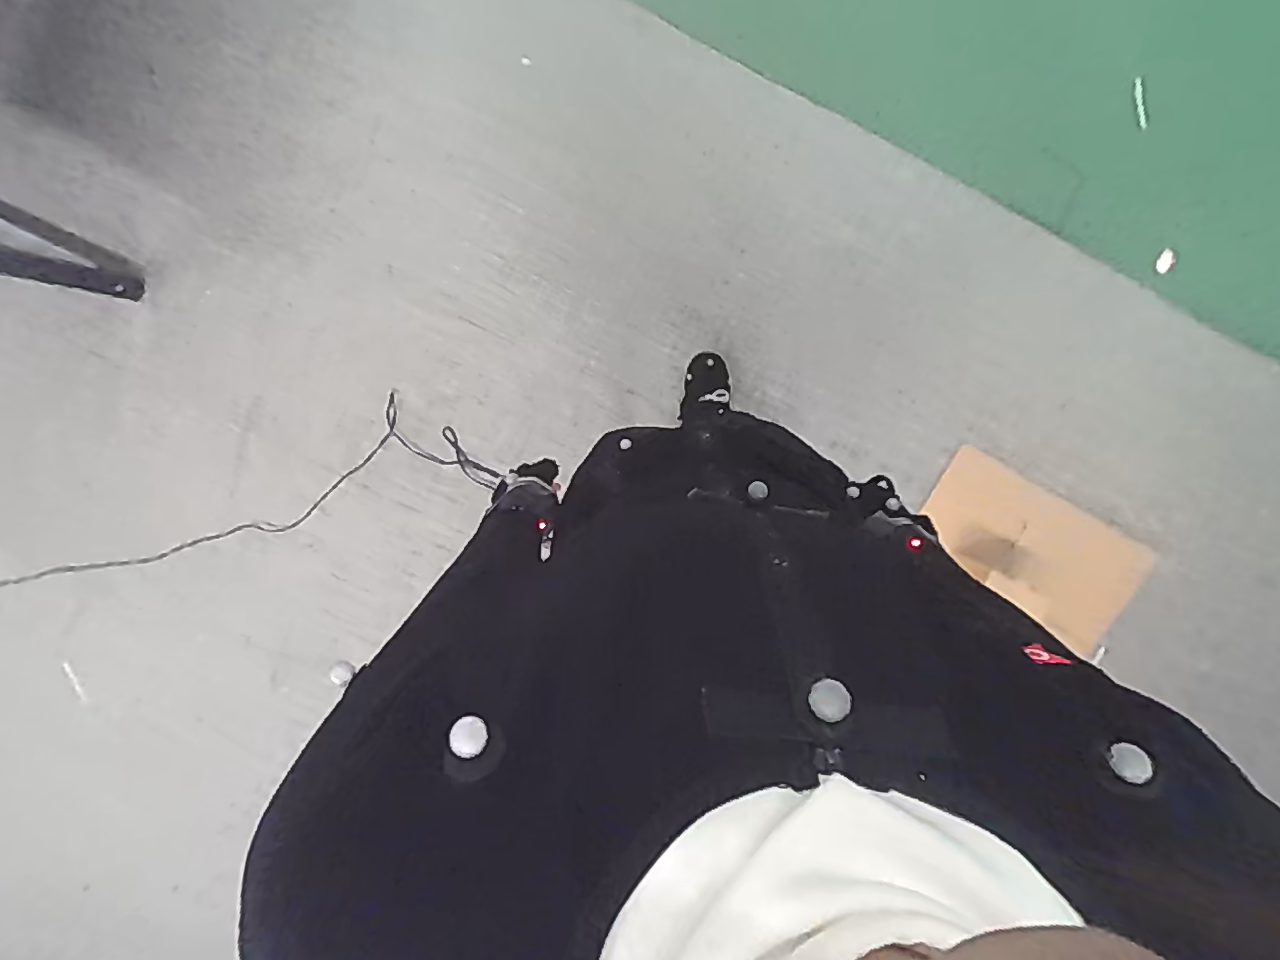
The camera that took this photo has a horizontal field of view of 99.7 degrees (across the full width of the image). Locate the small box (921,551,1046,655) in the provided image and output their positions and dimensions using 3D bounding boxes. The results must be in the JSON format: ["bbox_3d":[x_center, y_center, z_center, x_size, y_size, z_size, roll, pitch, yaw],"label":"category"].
[{"bbox_3d":[0.848,0.298,1.355,0.168,0.176,0.179,24,97,-4],"label":"small box"}]
